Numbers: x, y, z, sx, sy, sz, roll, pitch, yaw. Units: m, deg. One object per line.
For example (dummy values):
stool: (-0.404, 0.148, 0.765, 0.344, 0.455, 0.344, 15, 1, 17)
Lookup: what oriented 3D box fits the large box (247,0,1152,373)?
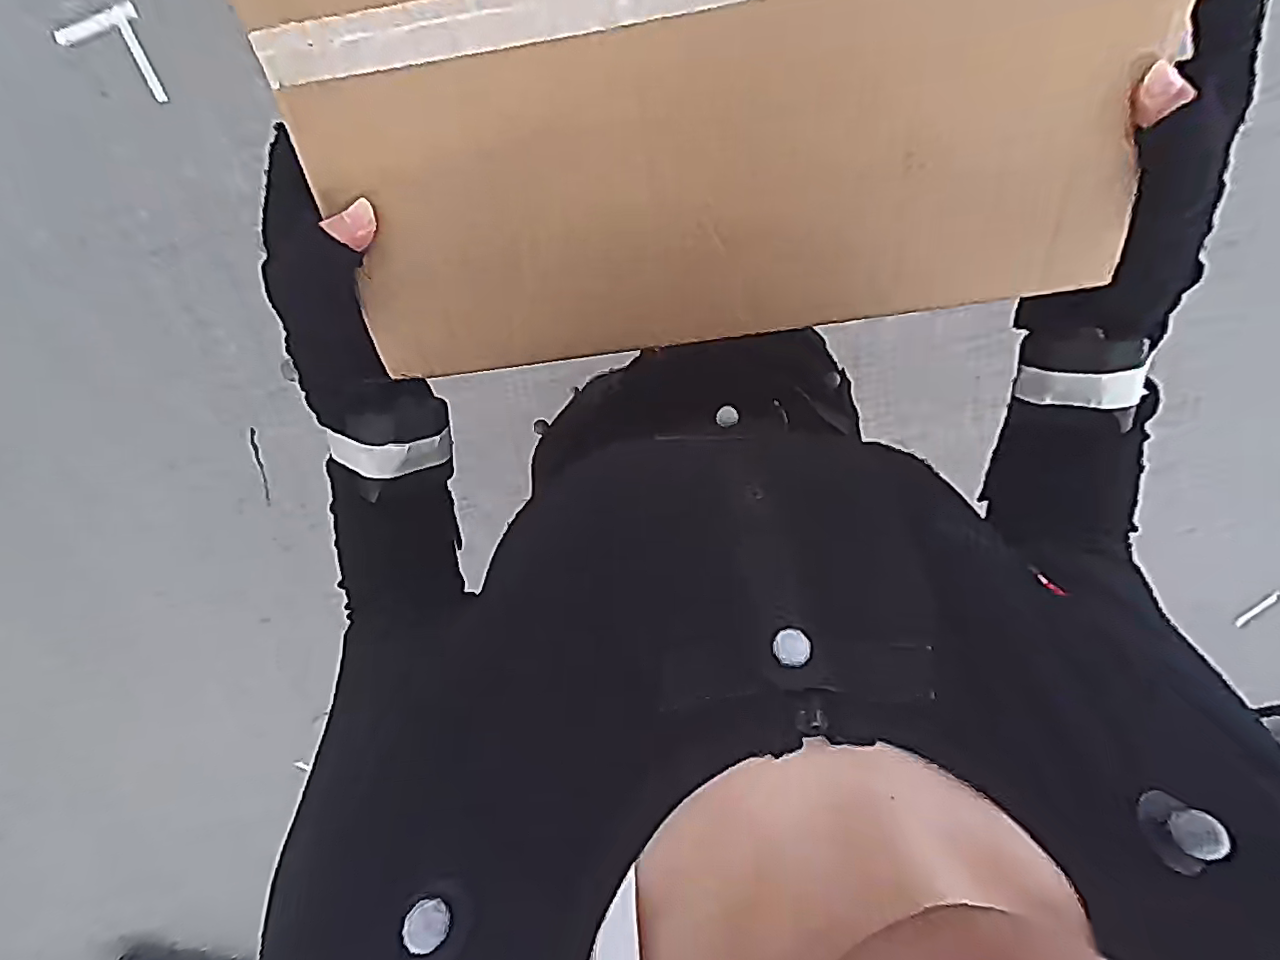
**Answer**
large box: (0.027, -0.298, 0.360, 0.408, 0.320, 0.320, -7, 121, 5)
